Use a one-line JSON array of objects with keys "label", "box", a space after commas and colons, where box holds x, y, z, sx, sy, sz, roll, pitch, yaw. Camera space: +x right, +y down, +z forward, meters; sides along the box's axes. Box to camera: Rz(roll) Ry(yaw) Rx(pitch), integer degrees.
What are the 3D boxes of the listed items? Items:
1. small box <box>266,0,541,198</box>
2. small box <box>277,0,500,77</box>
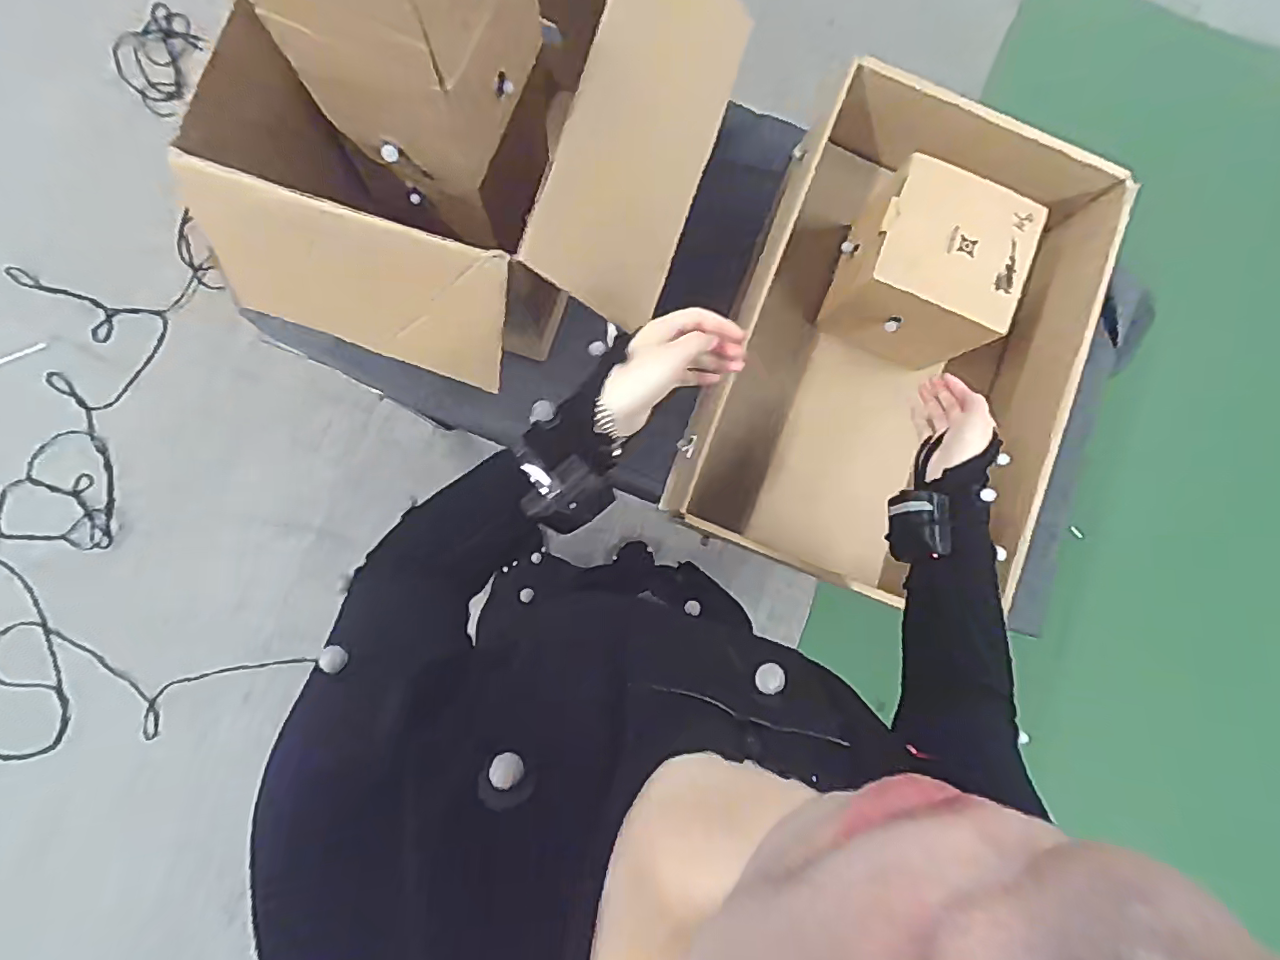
[{"label": "small box", "box": [-0.206, -0.425, 0.529, 0.168, 0.176, 0.179, 23, 86, -4]}, {"label": "small box", "box": [-0.193, -0.433, 0.368, 0.179, 0.176, 0.168, 24, 85, -4]}]
